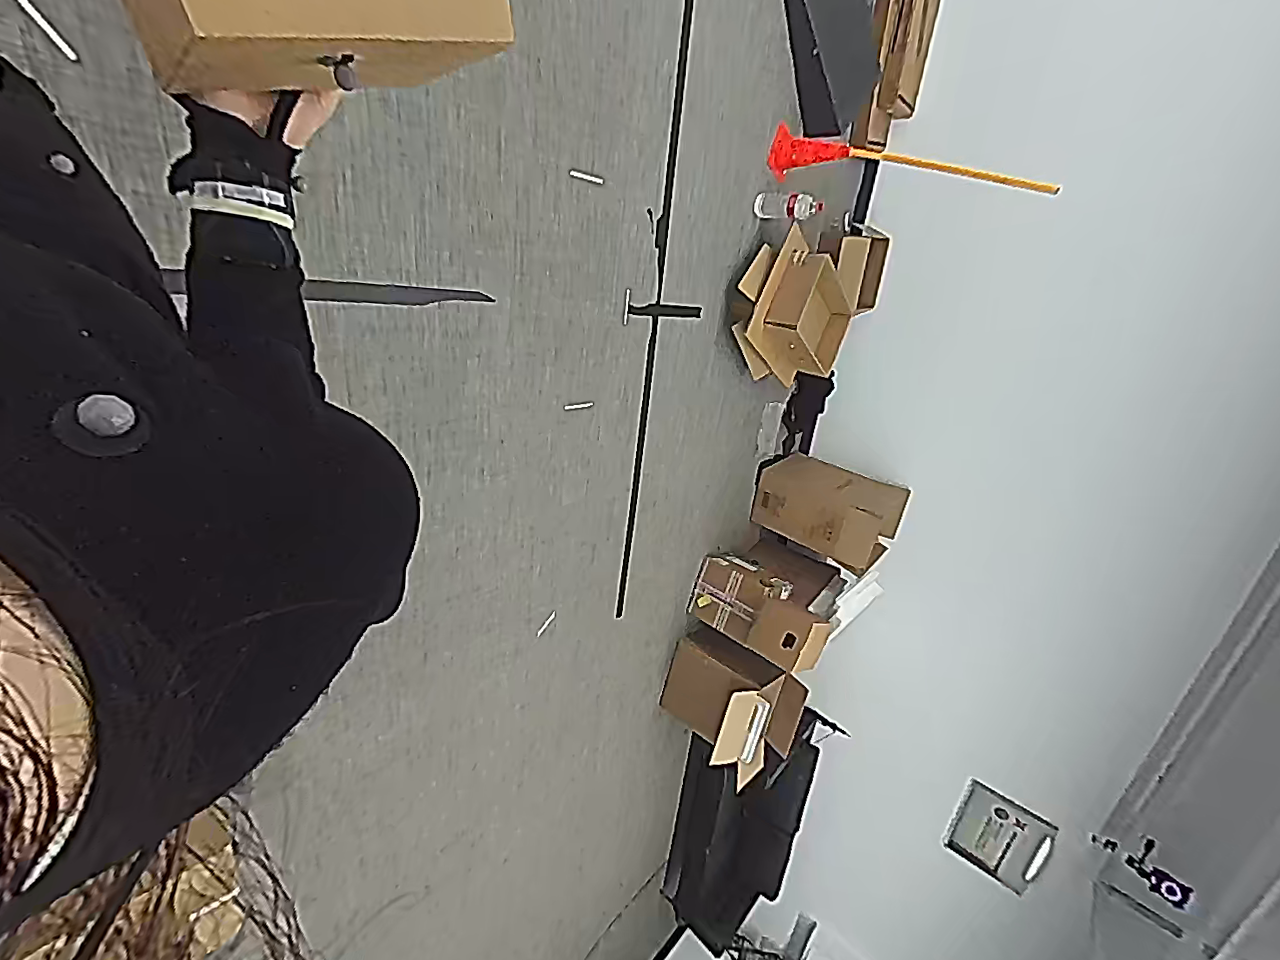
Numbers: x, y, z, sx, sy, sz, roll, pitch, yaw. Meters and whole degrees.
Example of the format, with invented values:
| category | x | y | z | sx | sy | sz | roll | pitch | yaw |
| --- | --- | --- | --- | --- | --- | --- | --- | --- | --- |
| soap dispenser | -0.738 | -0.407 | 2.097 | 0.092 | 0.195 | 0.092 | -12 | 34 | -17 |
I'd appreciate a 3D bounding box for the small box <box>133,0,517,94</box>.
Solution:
| category | x | y | z | sx | sy | sz | roll | pitch | yaw |
| --- | --- | --- | --- | --- | --- | --- | --- | --- | --- |
| small box | -0.203 | -0.334 | 0.310 | 0.179 | 0.176 | 0.168 | -30 | 129 | -33 |
